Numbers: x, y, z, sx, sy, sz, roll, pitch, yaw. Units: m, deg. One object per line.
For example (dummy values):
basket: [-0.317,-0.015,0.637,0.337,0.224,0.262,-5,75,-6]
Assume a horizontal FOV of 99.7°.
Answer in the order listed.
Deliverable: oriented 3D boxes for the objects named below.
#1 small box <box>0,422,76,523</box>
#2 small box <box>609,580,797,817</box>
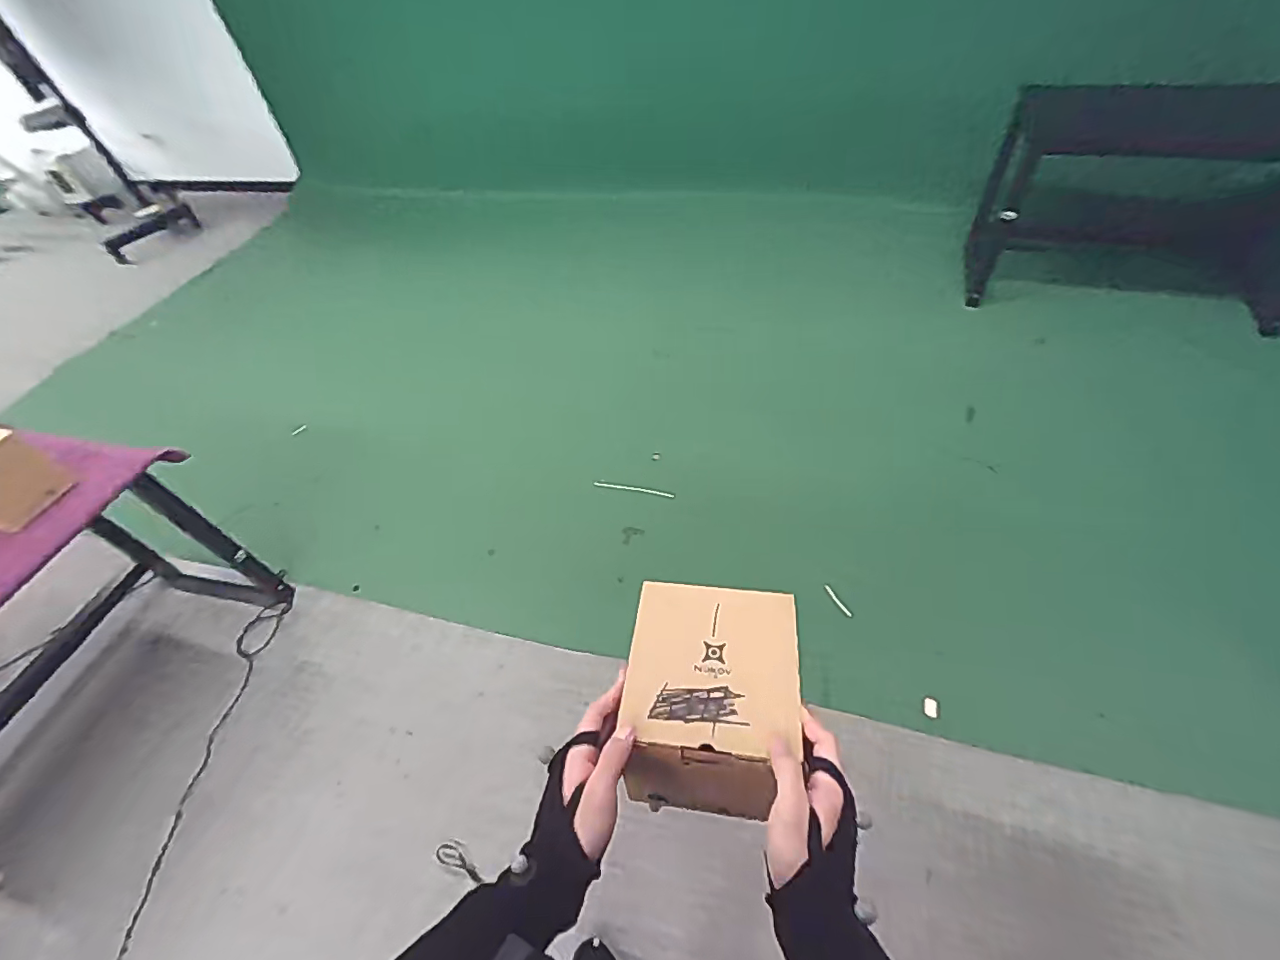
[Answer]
small box: [-1.461,-0.023,1.214,0.179,0.176,0.168,10,54,17]
small box: [0.071,0.232,0.576,0.168,0.176,0.179,4,43,9]
